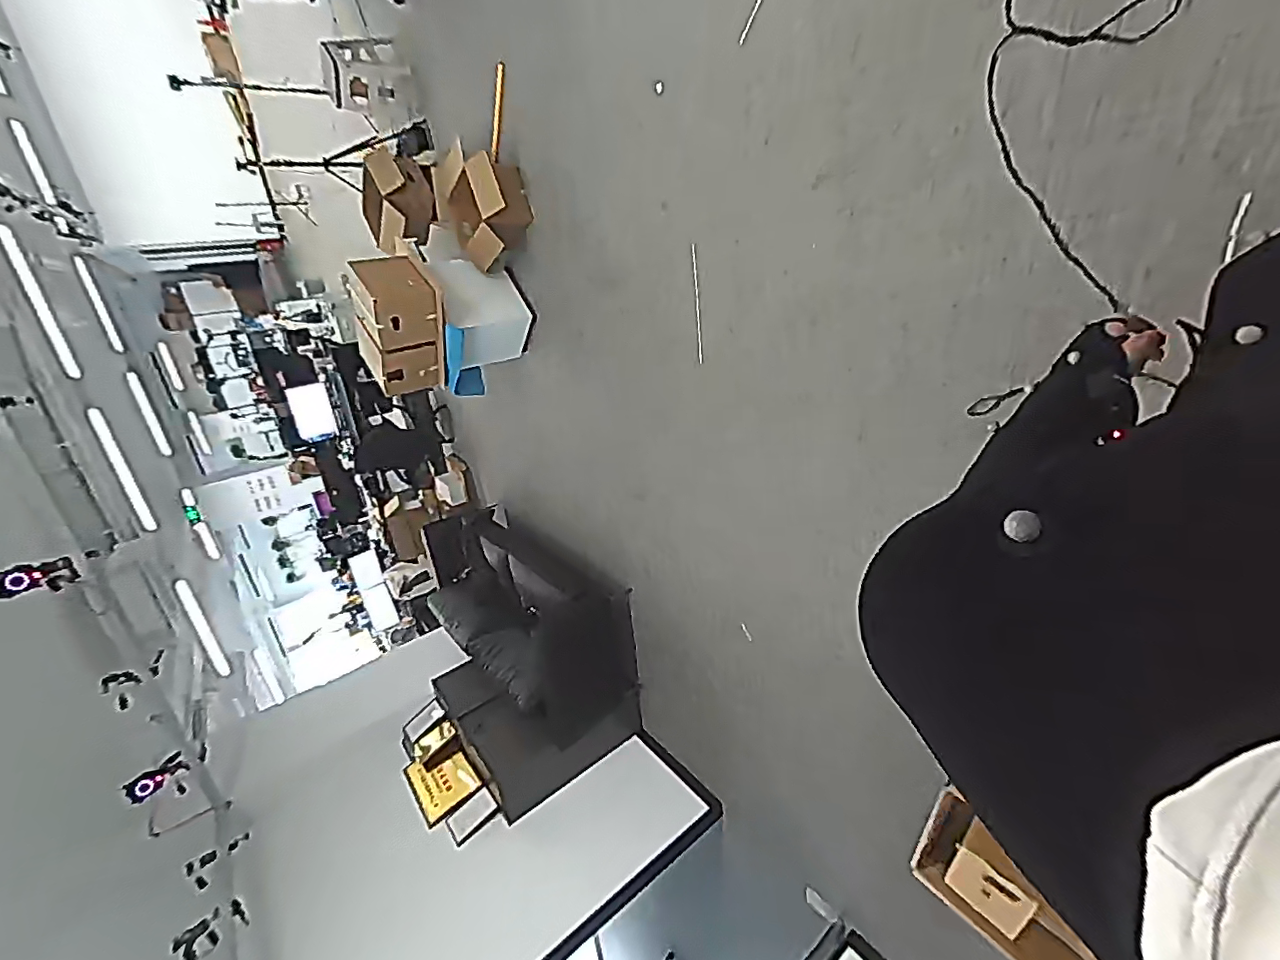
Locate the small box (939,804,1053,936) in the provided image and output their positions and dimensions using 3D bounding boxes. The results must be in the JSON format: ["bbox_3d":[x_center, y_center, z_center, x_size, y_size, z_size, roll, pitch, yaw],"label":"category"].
[{"bbox_3d":[0.883,0.954,1.338,0.168,0.176,0.179,32,133,43],"label":"small box"}]
